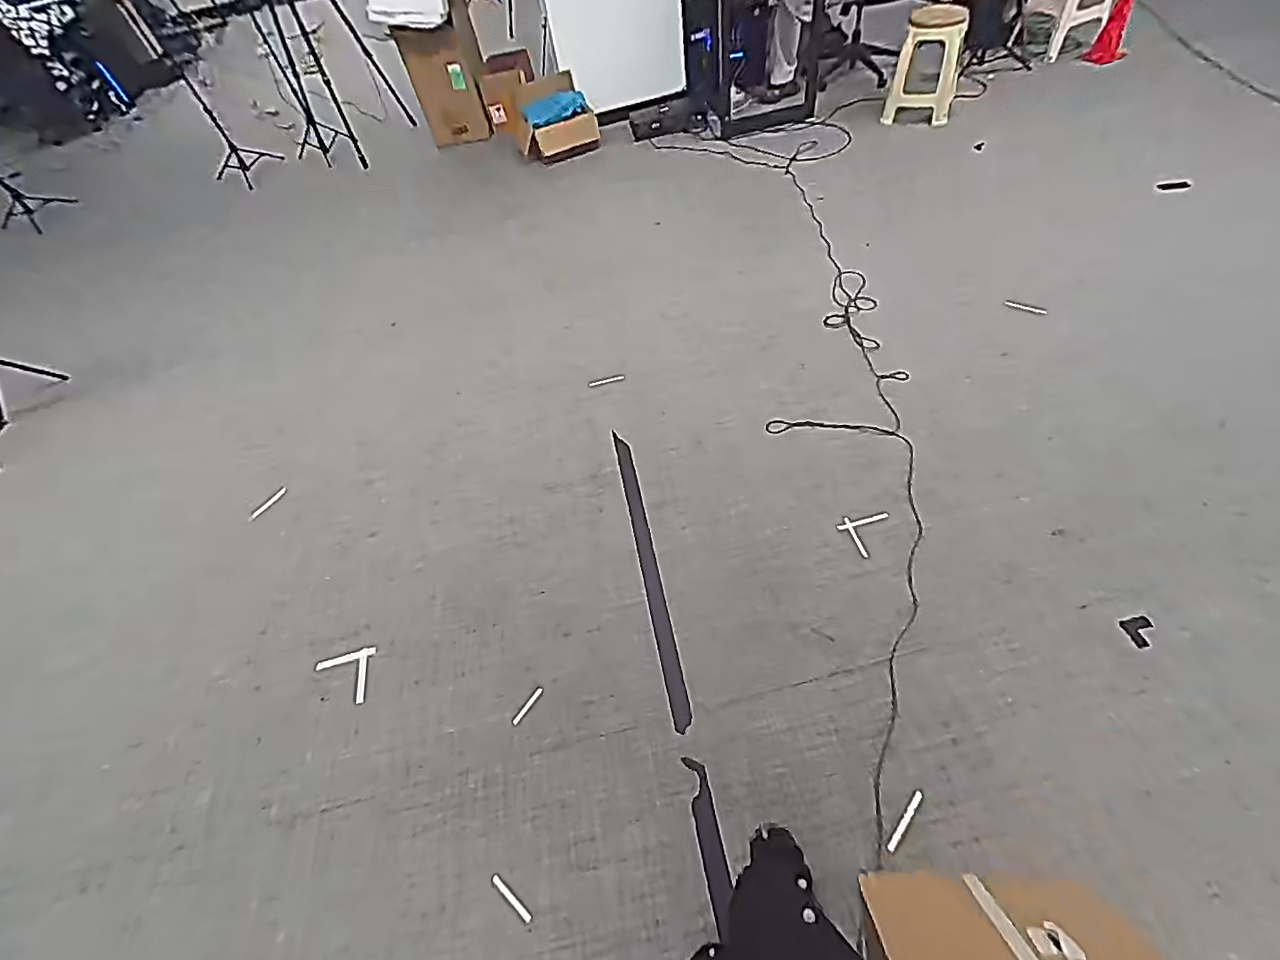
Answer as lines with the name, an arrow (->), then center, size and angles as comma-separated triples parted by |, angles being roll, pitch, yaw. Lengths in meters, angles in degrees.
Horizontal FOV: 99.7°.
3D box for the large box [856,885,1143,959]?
large box -> 0.460, 0.732, 0.586 | 0.320, 0.408, 0.320 | -3, 82, 8
